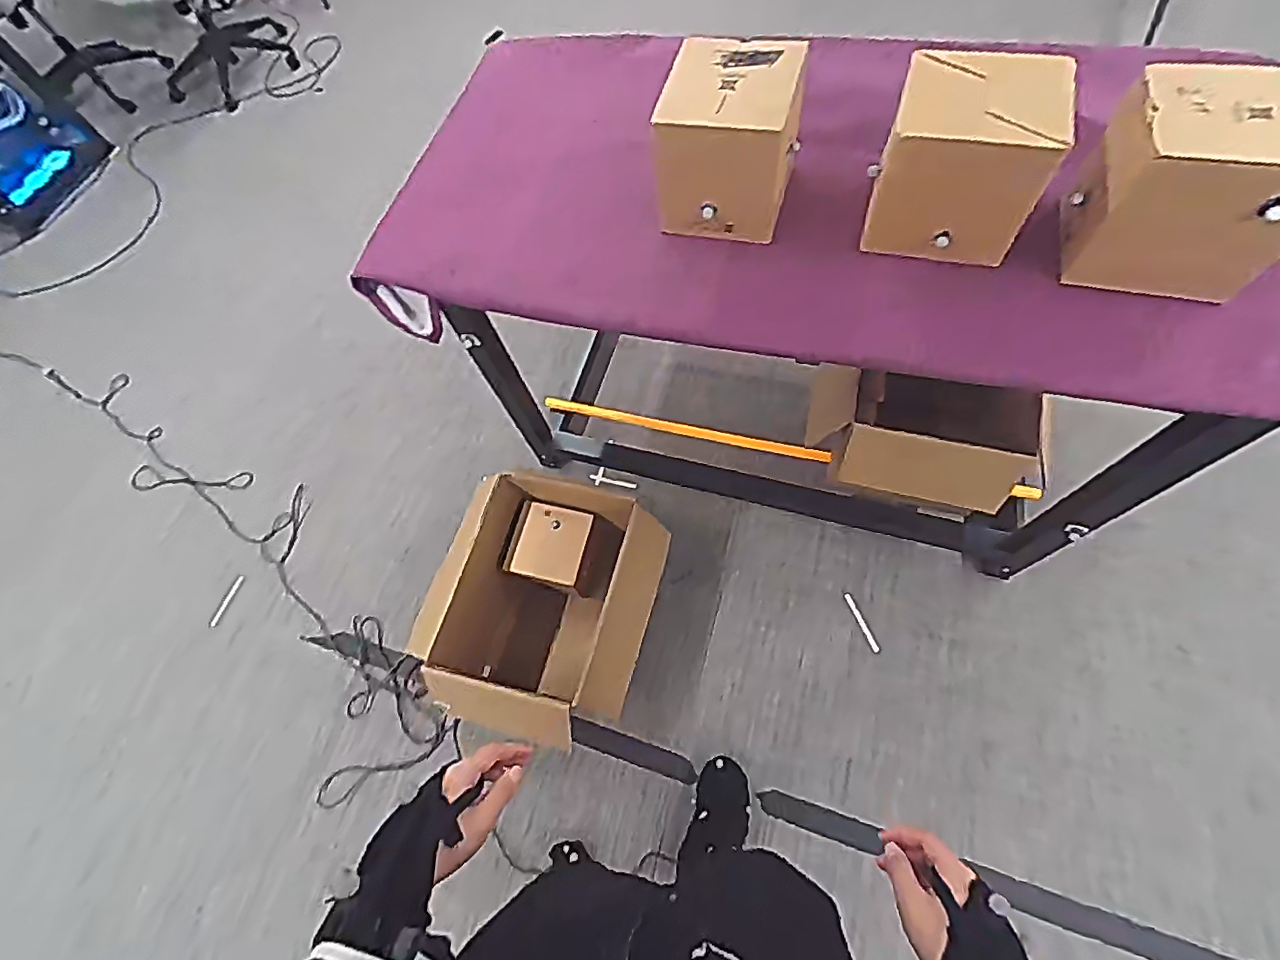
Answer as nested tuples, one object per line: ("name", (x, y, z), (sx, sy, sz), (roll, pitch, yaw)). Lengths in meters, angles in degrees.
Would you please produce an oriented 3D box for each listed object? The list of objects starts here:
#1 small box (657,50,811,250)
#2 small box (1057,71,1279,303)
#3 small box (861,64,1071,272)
("small box", (0.131, -0.461, 0.763), (0.168, 0.176, 0.179), (13, 68, 14))
("small box", (0.632, -0.332, 0.629), (0.179, 0.176, 0.168), (14, 65, 14))
("small box", (0.404, -0.399, 0.692), (0.179, 0.176, 0.168), (14, 66, 15))
